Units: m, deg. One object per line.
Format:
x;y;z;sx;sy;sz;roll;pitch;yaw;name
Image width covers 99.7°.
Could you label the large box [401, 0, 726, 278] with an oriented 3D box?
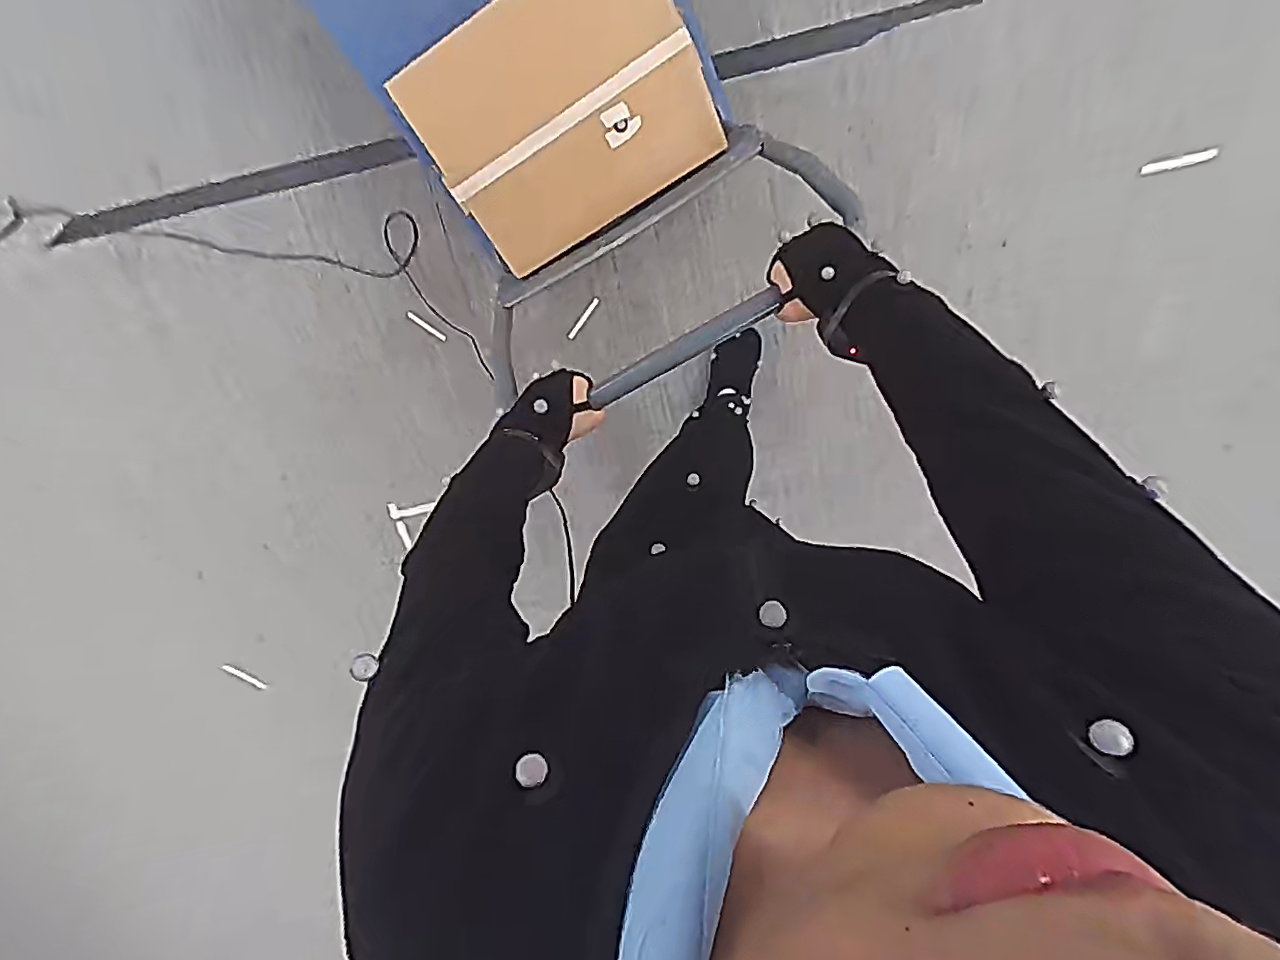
-0.126;-0.629;0.937;0.408;0.320;0.320;-29;126;11;large box
